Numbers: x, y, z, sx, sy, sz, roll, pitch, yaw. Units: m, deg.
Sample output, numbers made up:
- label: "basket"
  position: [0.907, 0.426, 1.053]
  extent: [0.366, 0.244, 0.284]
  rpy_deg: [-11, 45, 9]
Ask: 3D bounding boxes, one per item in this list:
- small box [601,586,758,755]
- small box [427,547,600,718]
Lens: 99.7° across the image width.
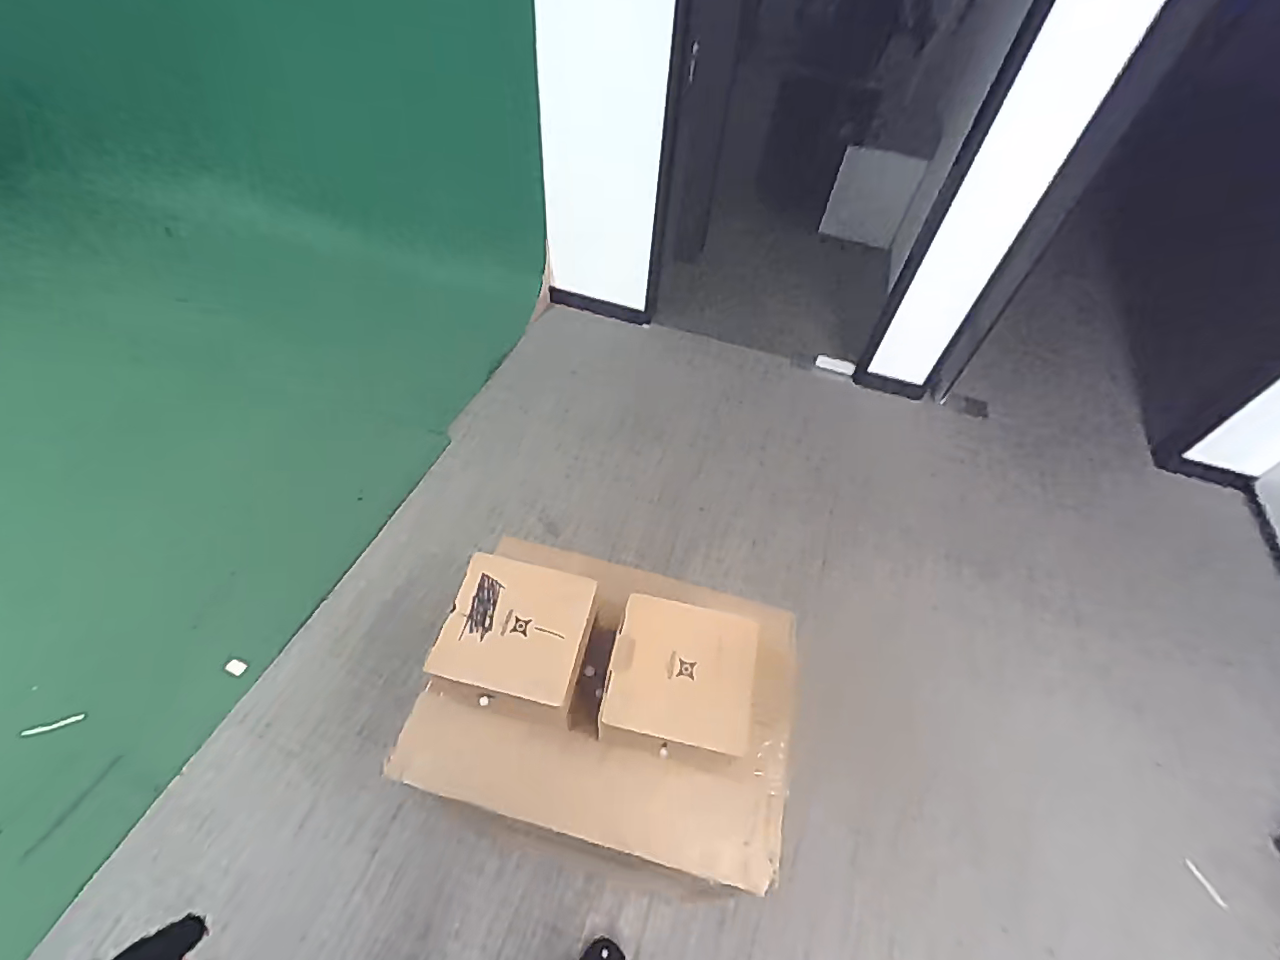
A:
- label: "small box"
  position: [0.049, 0.266, 0.737]
  extent: [0.179, 0.176, 0.168]
  rpy_deg: [12, 58, 2]
- label: "small box"
  position: [-0.160, 0.218, 0.752]
  extent: [0.179, 0.176, 0.168]
  rpy_deg: [13, 57, 4]
